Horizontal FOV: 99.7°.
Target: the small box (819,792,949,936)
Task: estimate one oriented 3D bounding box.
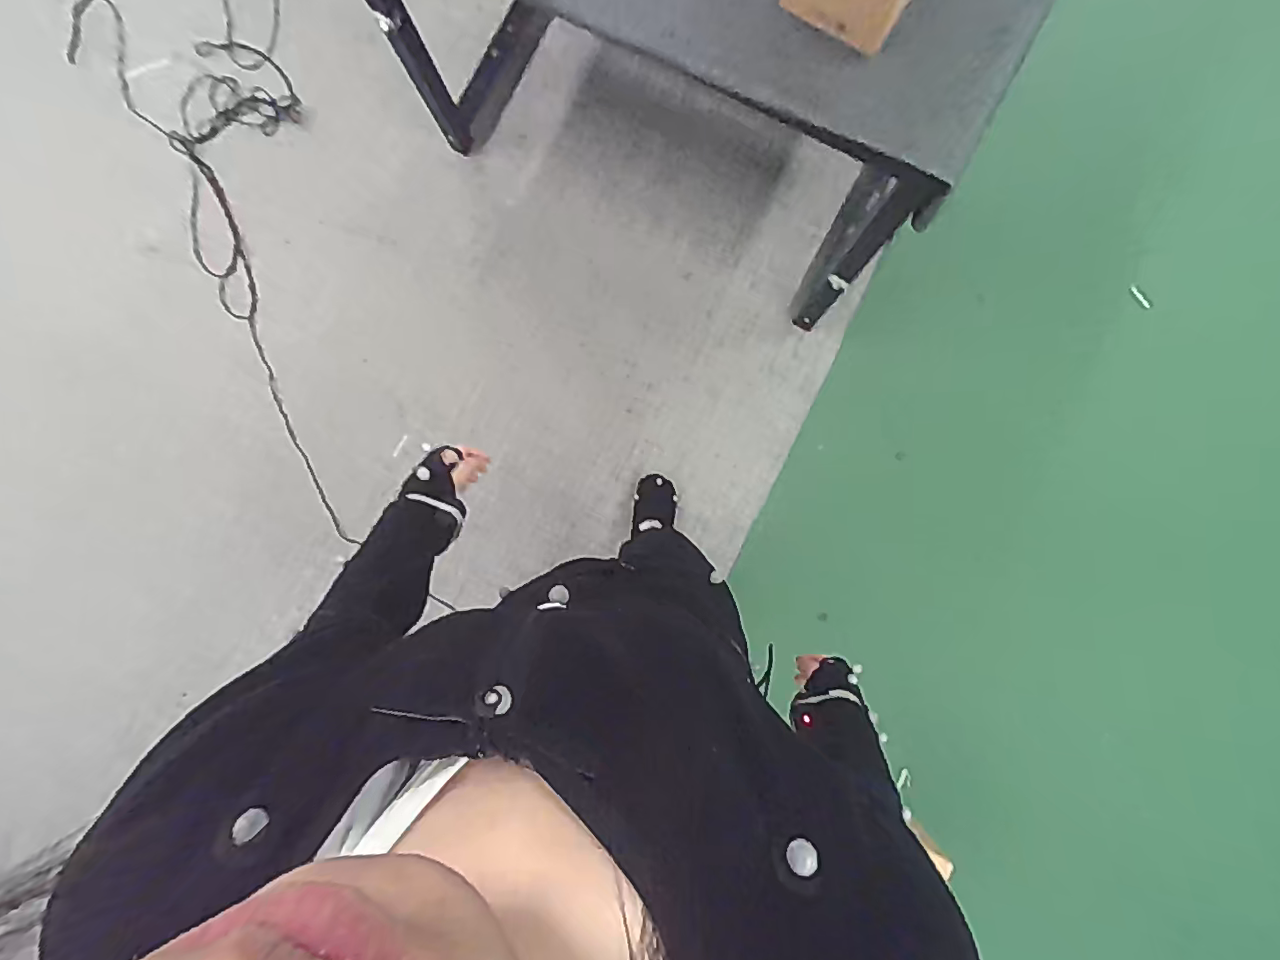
[{"bbox_3d":[0.537,0.847,1.213,0.179,0.176,0.168,30,87,2],"label":"small box"}]
